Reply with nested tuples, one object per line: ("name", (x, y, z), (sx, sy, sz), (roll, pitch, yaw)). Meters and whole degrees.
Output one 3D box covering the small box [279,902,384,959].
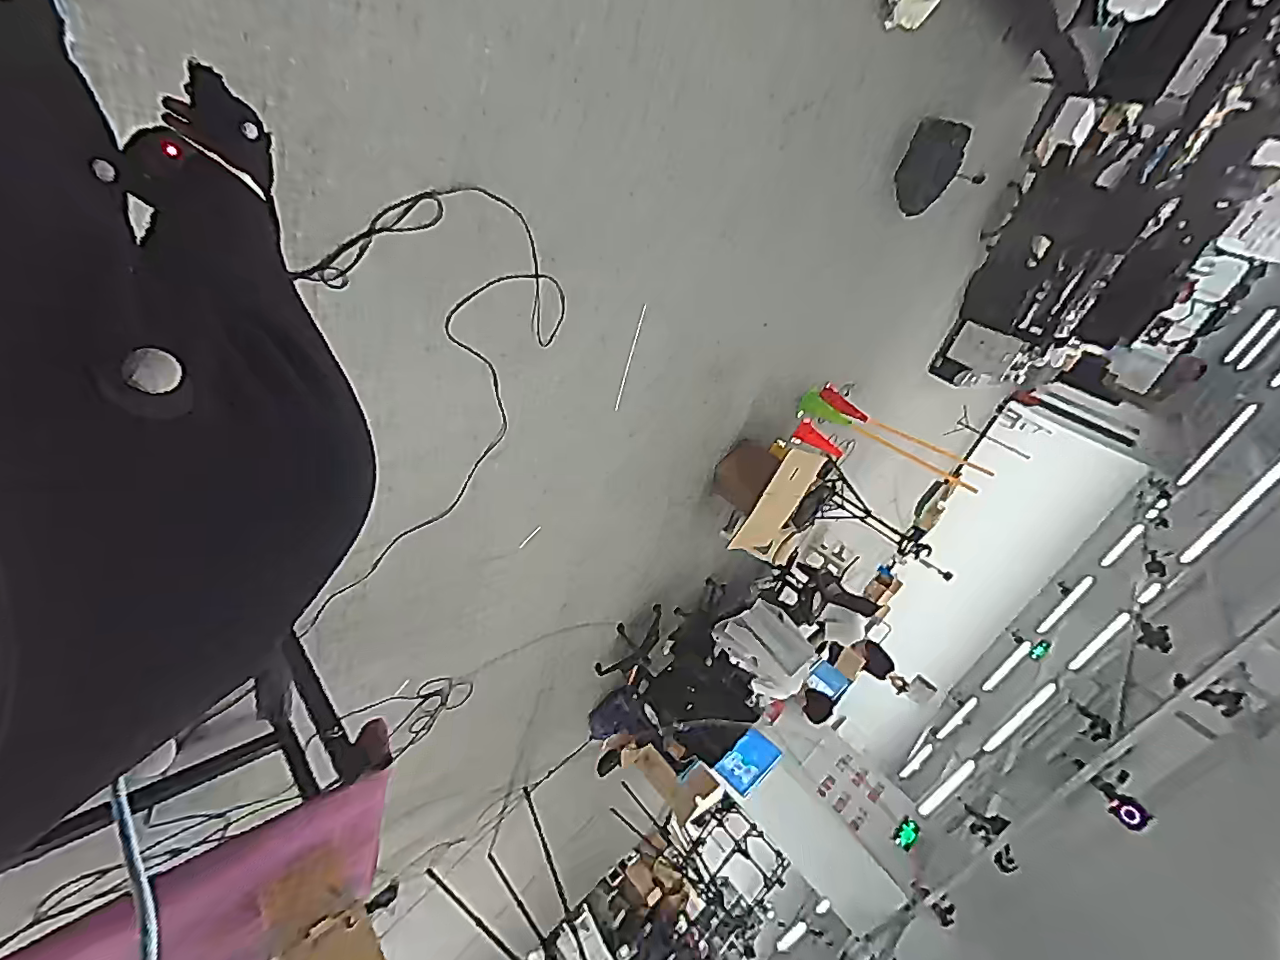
("small box", (-0.703, 1.114, 1.226), (0.168, 0.176, 0.179), (-10, 131, -45))
